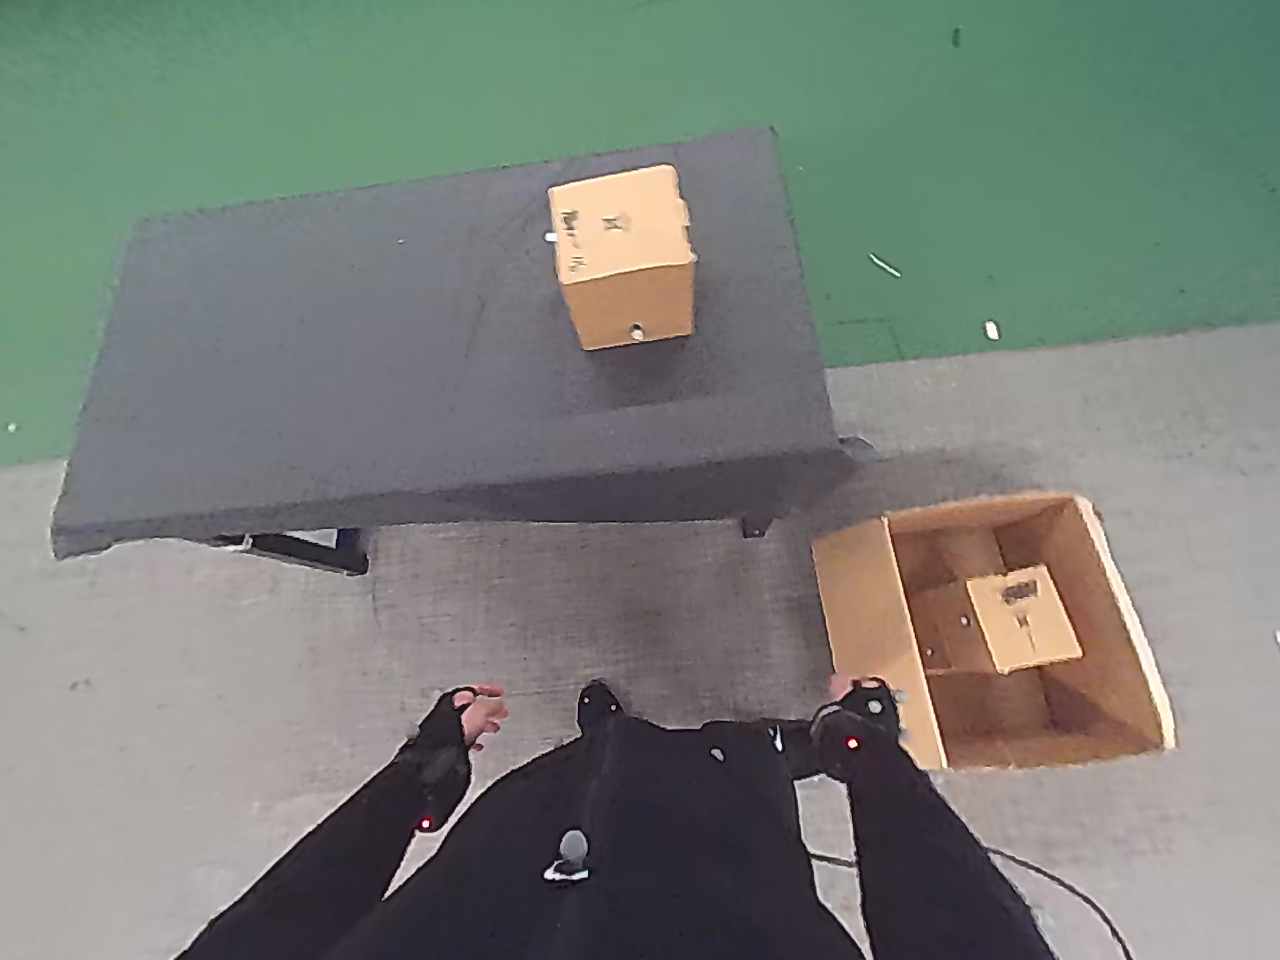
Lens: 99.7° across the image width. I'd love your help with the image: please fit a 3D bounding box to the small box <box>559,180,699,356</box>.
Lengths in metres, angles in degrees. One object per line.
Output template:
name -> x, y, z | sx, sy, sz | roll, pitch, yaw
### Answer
small box -> -0.012, -0.311, 0.821 | 0.179, 0.176, 0.168 | -11, 73, 2
